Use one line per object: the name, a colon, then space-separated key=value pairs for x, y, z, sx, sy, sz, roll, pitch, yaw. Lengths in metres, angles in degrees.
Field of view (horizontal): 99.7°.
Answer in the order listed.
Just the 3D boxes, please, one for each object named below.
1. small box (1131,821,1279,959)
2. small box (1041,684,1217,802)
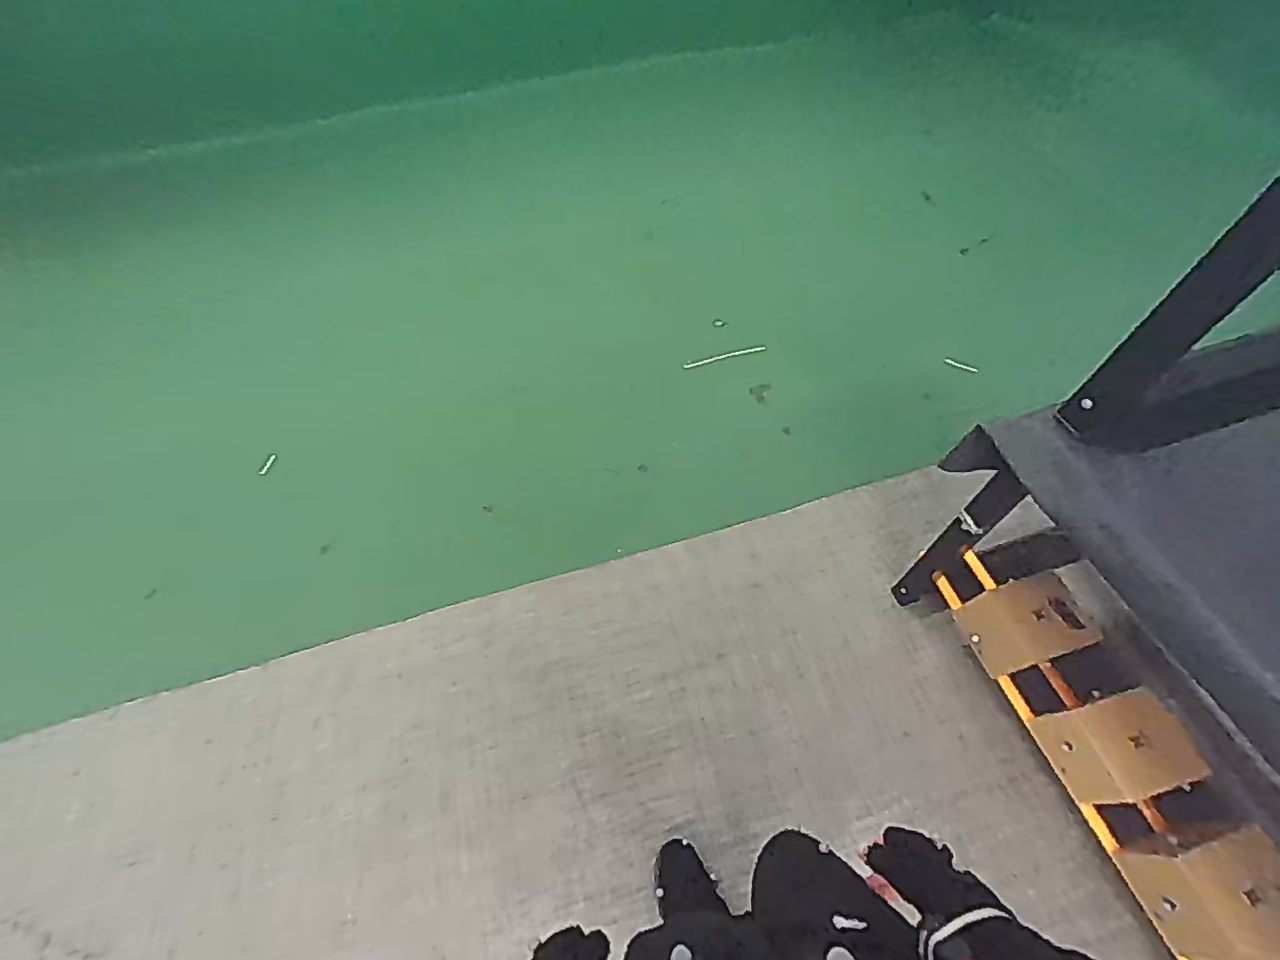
small box: x=1.035 y=0.727 z=0.957 sx=0.179 sy=0.176 sz=0.168 roll=-17 pitch=58 yaw=-6
small box: x=0.959 y=0.533 z=1.088 sx=0.179 sy=0.176 sz=0.168 roll=-16 pitch=58 yaw=-5
